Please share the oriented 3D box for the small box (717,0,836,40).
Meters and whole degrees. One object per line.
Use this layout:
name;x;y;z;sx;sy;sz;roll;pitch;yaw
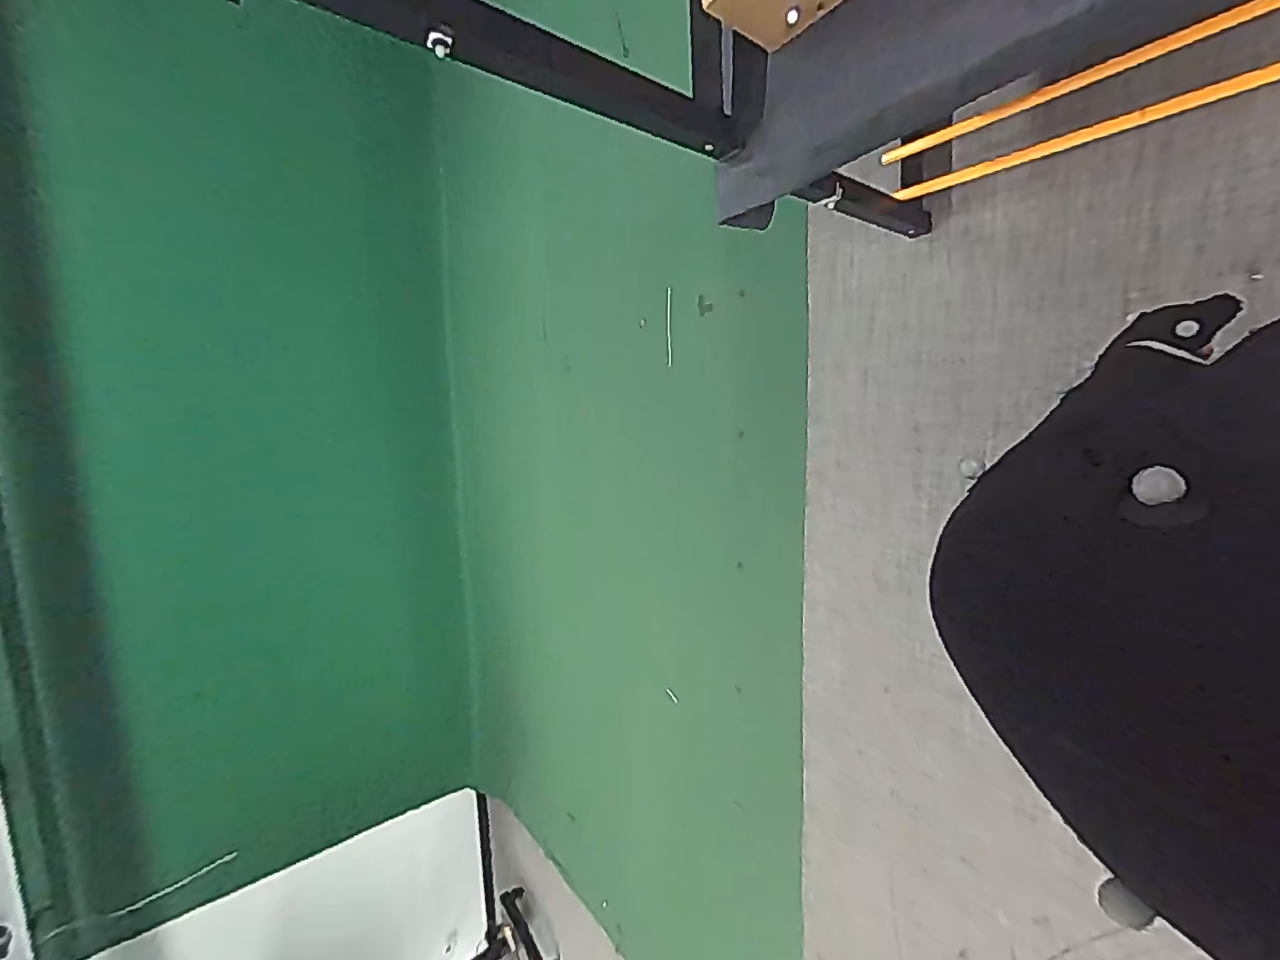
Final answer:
small box;0.204;-0.791;0.770;0.168;0.176;0.179;2;98;52
